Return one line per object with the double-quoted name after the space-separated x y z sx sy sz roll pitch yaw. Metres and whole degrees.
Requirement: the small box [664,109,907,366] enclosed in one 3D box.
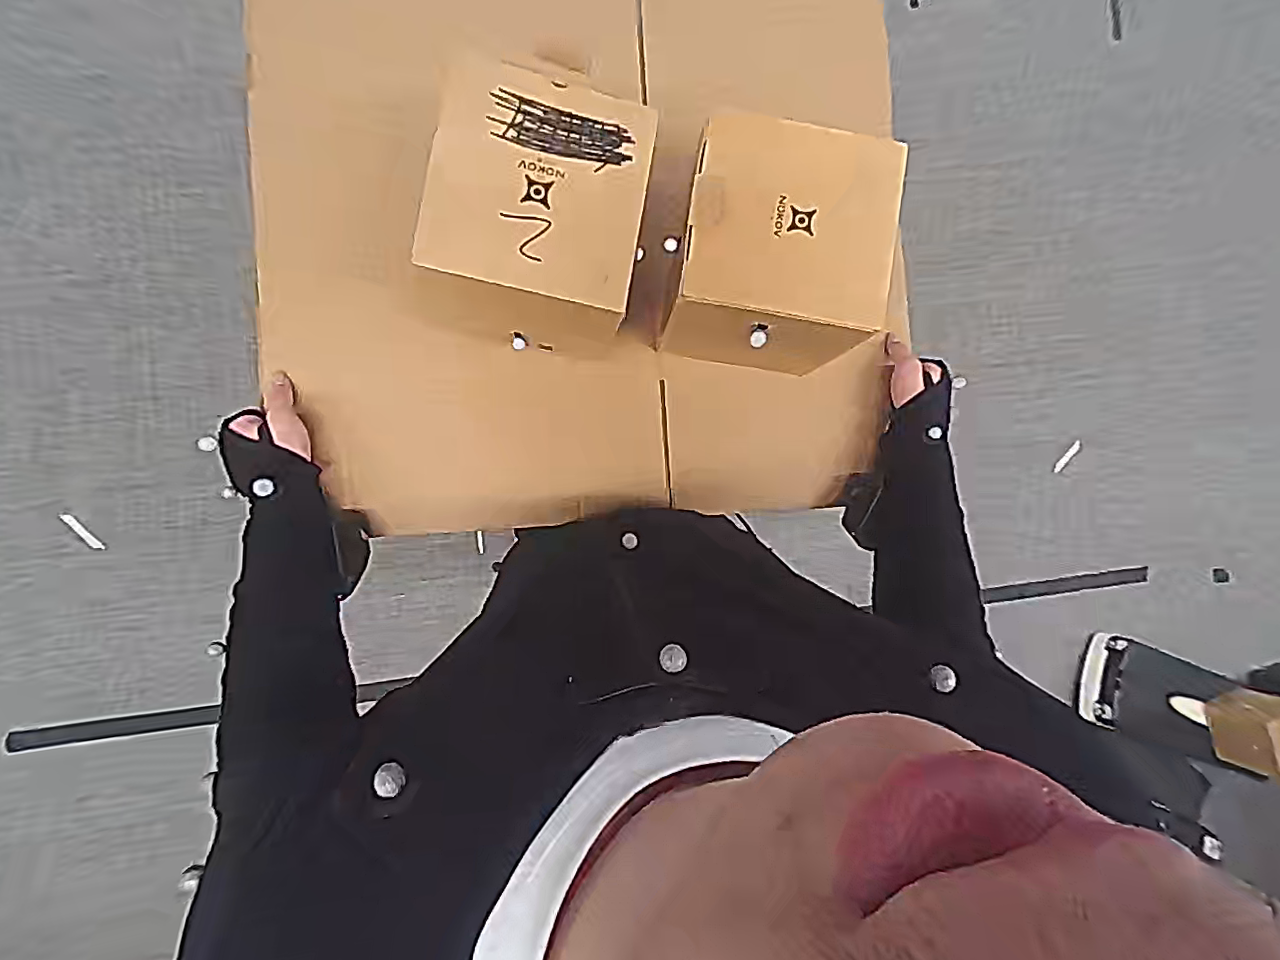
0.130 -0.220 0.542 0.179 0.176 0.168 9 88 -3 "small box"
